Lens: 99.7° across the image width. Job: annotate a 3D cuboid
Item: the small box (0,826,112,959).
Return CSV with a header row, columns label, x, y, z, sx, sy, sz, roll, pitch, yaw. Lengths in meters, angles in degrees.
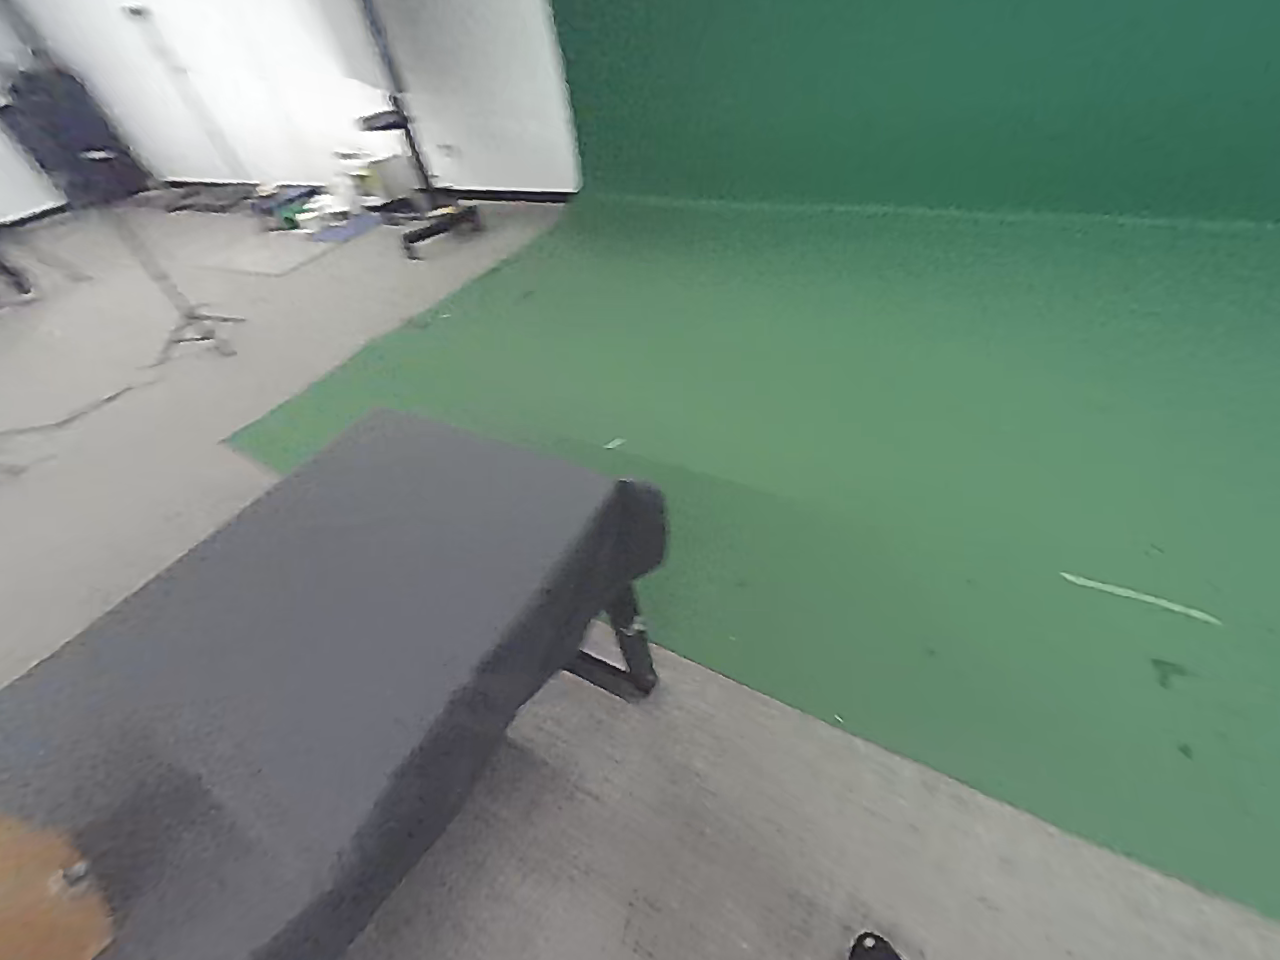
label,x,y,z,sx,sy,sz,roll,pitch,yaw
small box,-0.642,0.431,0.471,0.168,0.176,0.179,19,50,26
